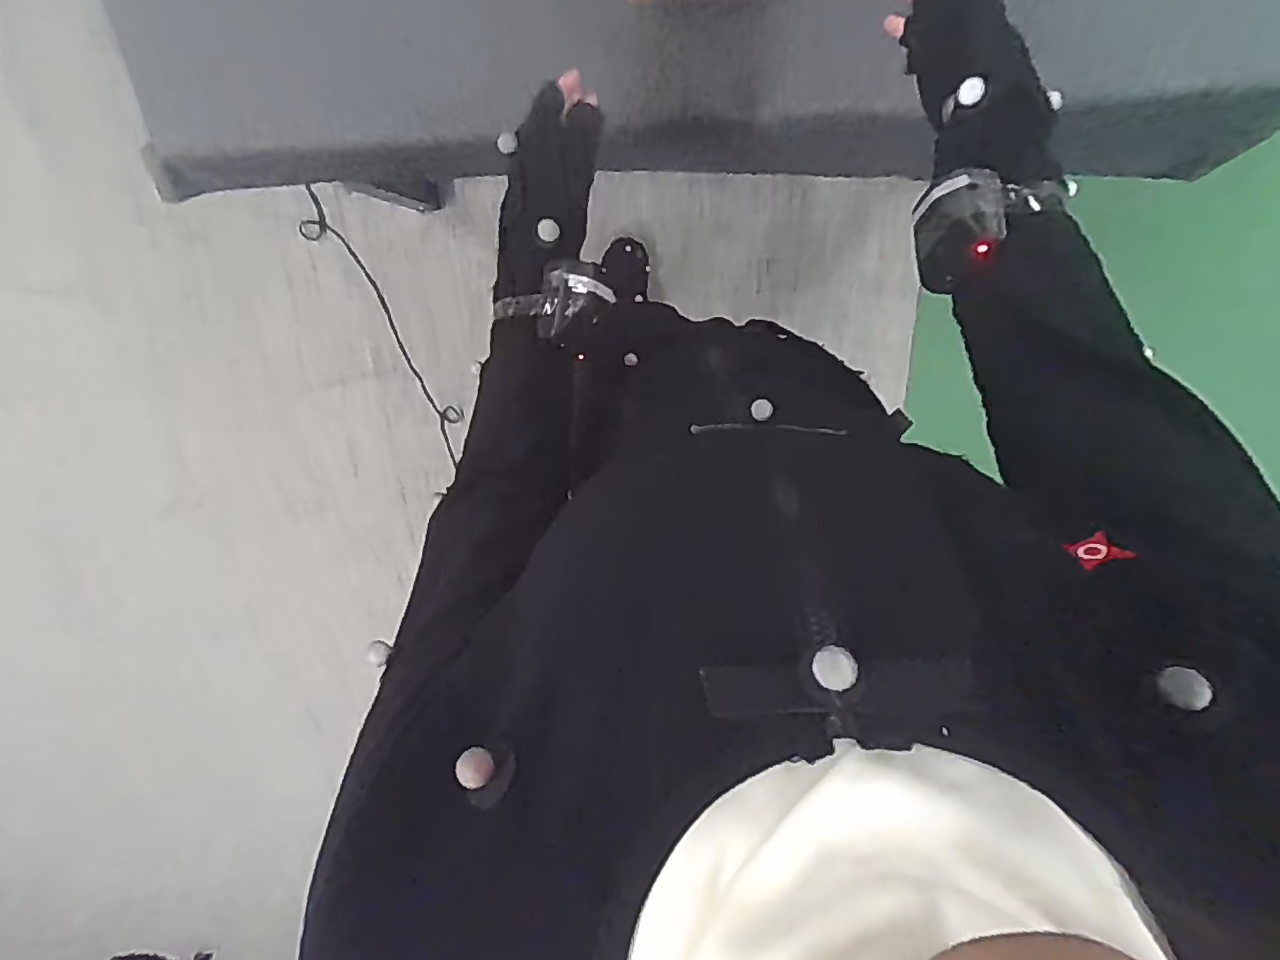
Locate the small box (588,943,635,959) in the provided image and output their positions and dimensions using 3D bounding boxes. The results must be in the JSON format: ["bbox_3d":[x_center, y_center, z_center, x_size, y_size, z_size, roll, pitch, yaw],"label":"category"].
[{"bbox_3d":[-0.097,1.767,1.886,0.168,0.176,0.179,-3,110,-3],"label":"small box"}]
